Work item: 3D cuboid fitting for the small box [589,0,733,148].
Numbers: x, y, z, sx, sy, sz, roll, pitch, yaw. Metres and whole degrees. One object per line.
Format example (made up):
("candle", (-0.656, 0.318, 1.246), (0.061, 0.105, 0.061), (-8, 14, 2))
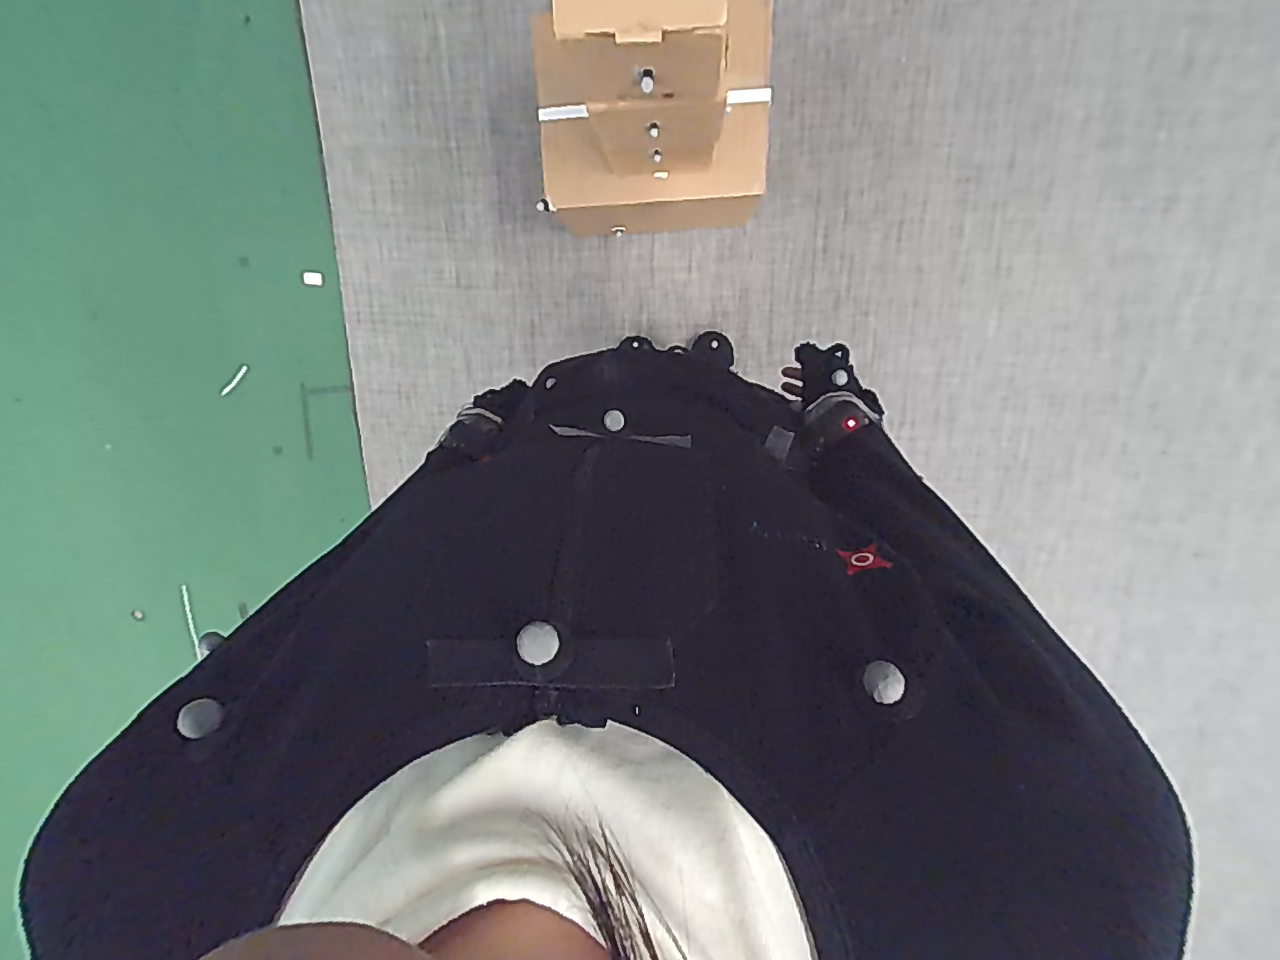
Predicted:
("small box", (0.025, -0.561, 0.716), (0.179, 0.176, 0.168), (-3, 107, 6))

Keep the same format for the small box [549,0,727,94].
("small box", (0.007, -0.524, 0.557), (0.168, 0.176, 0.179), (3, 108, 6))

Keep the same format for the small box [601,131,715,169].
("small box", (0.034, -0.614, 0.871), (0.179, 0.176, 0.168), (1, 107, 5))
